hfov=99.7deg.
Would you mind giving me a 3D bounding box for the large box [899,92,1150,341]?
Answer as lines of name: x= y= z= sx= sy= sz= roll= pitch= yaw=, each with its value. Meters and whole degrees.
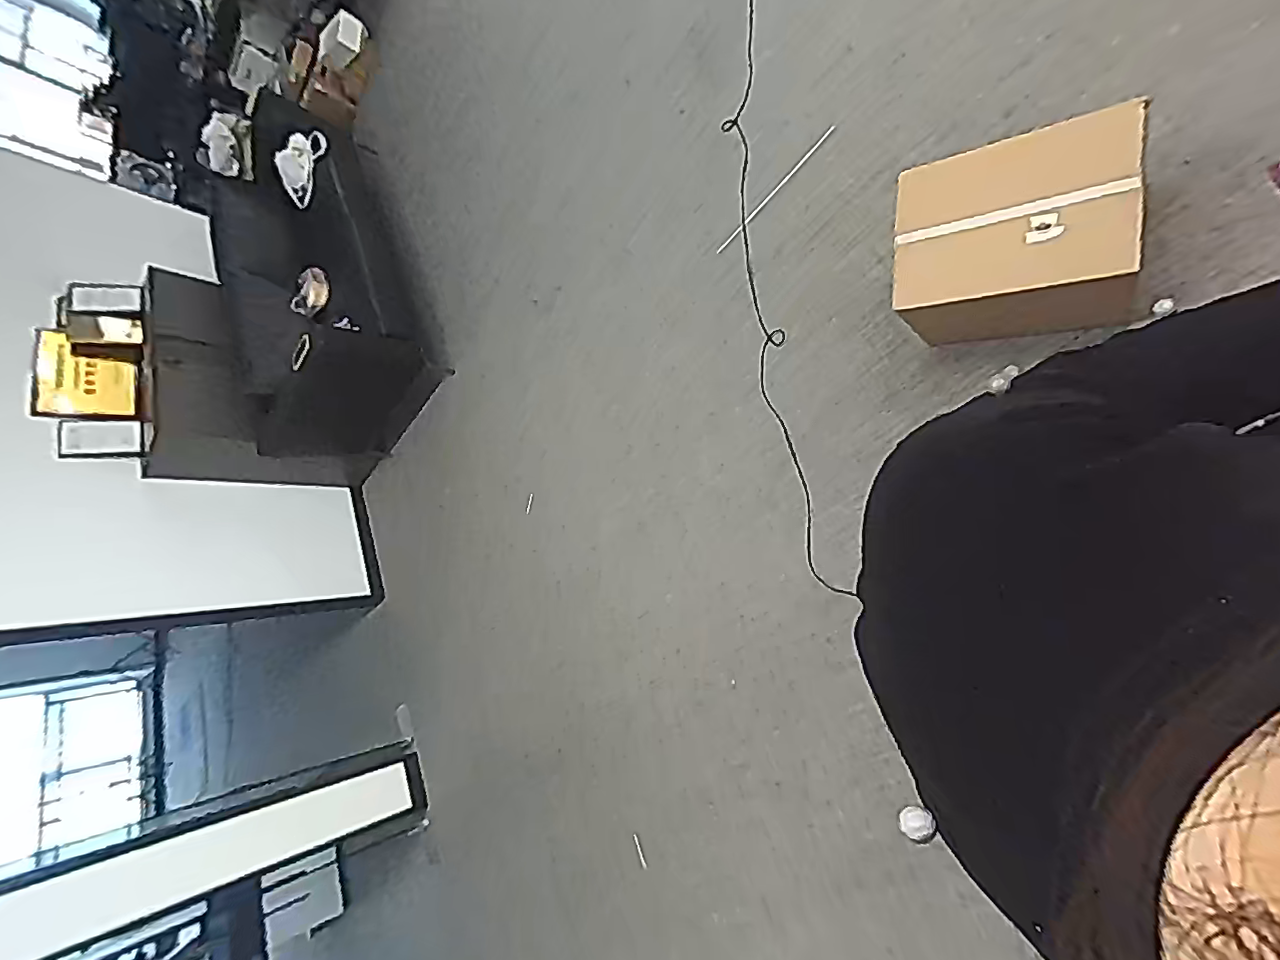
large box: x=0.817 y=-0.517 z=1.173 sx=0.408 sy=0.320 sz=0.320 roll=2 pitch=89 yaw=40
